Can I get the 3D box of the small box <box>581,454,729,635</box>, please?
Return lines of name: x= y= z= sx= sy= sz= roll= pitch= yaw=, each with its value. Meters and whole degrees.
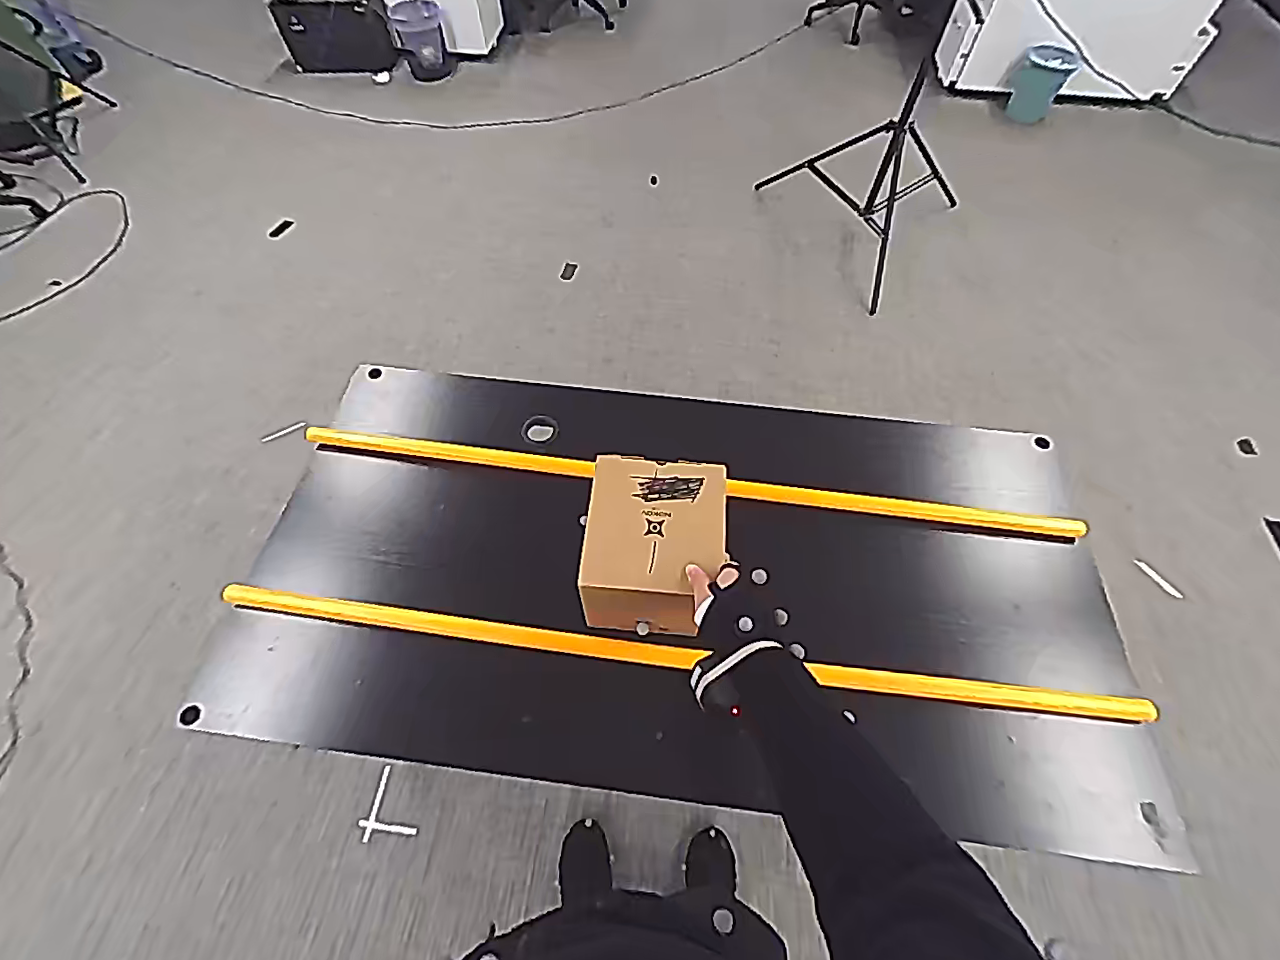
small box: x=0.022 y=0.089 z=0.712 sx=0.168 sy=0.176 sz=0.179 roll=5 pitch=60 yaw=3
